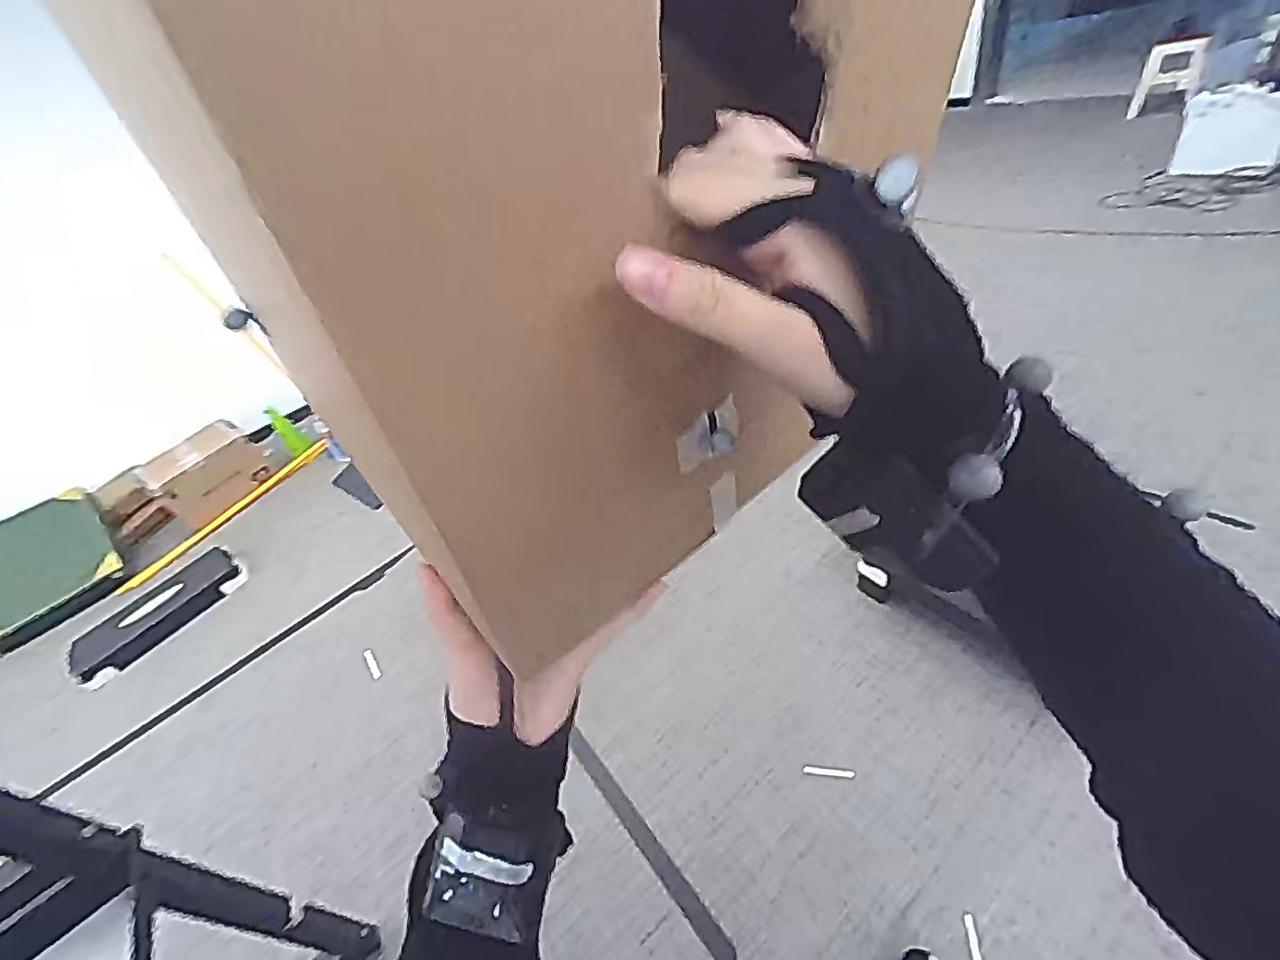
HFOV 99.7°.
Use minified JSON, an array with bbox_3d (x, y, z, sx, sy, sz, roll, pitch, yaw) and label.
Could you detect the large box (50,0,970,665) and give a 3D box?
[{"bbox_3d":[-0.080,-0.171,0.354,0.320,0.320,0.408,-34,50,-25],"label":"large box"}]
